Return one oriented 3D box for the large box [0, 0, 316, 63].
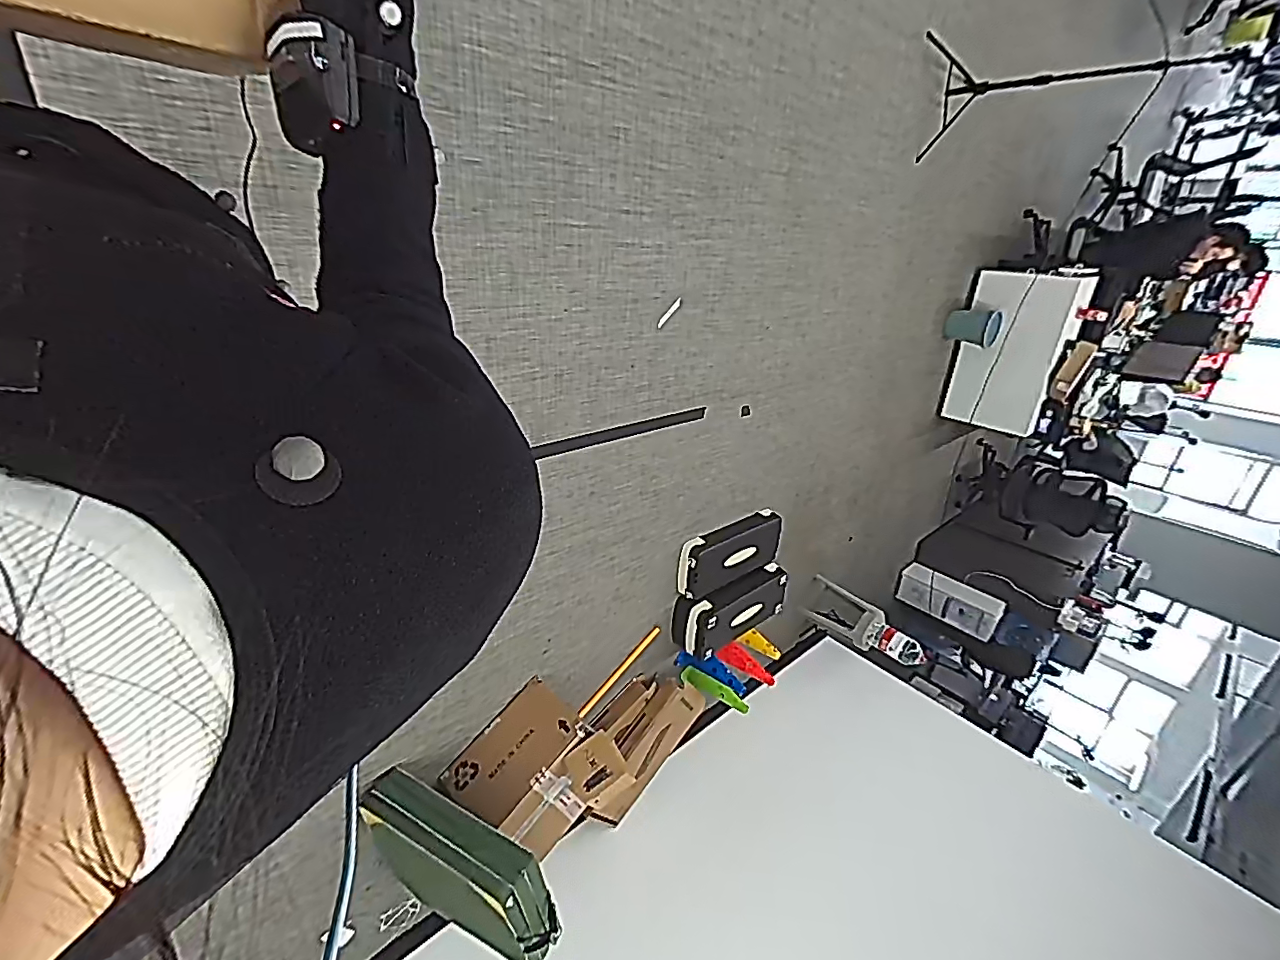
[{"bbox_3d":[-0.453,-0.448,0.271,0.408,0.320,0.320,-18,130,-41],"label":"large box"}]
